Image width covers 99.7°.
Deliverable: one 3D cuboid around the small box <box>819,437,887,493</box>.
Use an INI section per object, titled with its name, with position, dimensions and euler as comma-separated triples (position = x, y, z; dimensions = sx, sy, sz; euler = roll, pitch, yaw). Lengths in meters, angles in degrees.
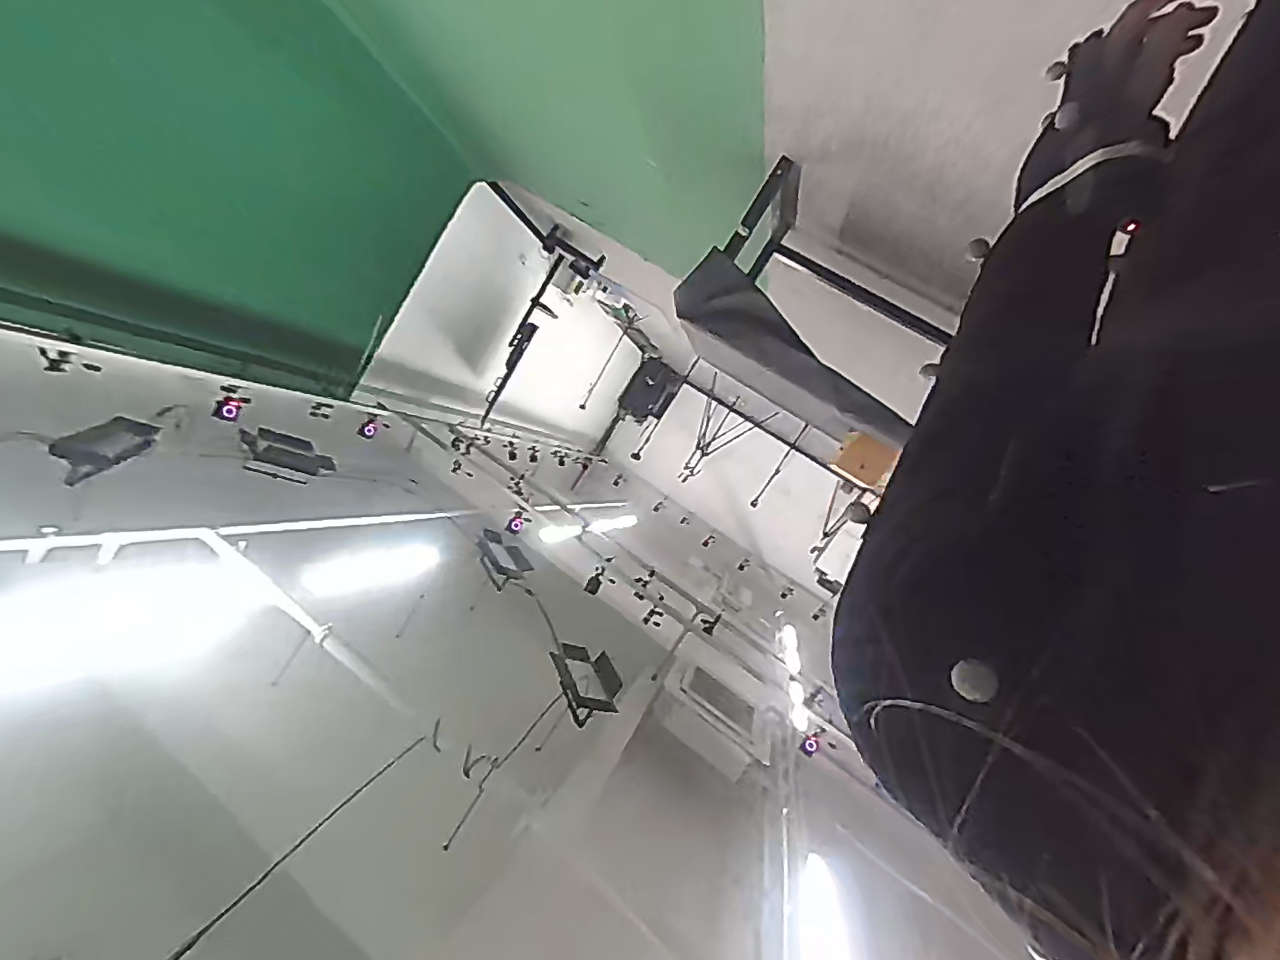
[small box]
position = 0.860, -0.065, 2.191
dimensions = 0.179, 0.176, 0.168
euler = 33, -175, 5
